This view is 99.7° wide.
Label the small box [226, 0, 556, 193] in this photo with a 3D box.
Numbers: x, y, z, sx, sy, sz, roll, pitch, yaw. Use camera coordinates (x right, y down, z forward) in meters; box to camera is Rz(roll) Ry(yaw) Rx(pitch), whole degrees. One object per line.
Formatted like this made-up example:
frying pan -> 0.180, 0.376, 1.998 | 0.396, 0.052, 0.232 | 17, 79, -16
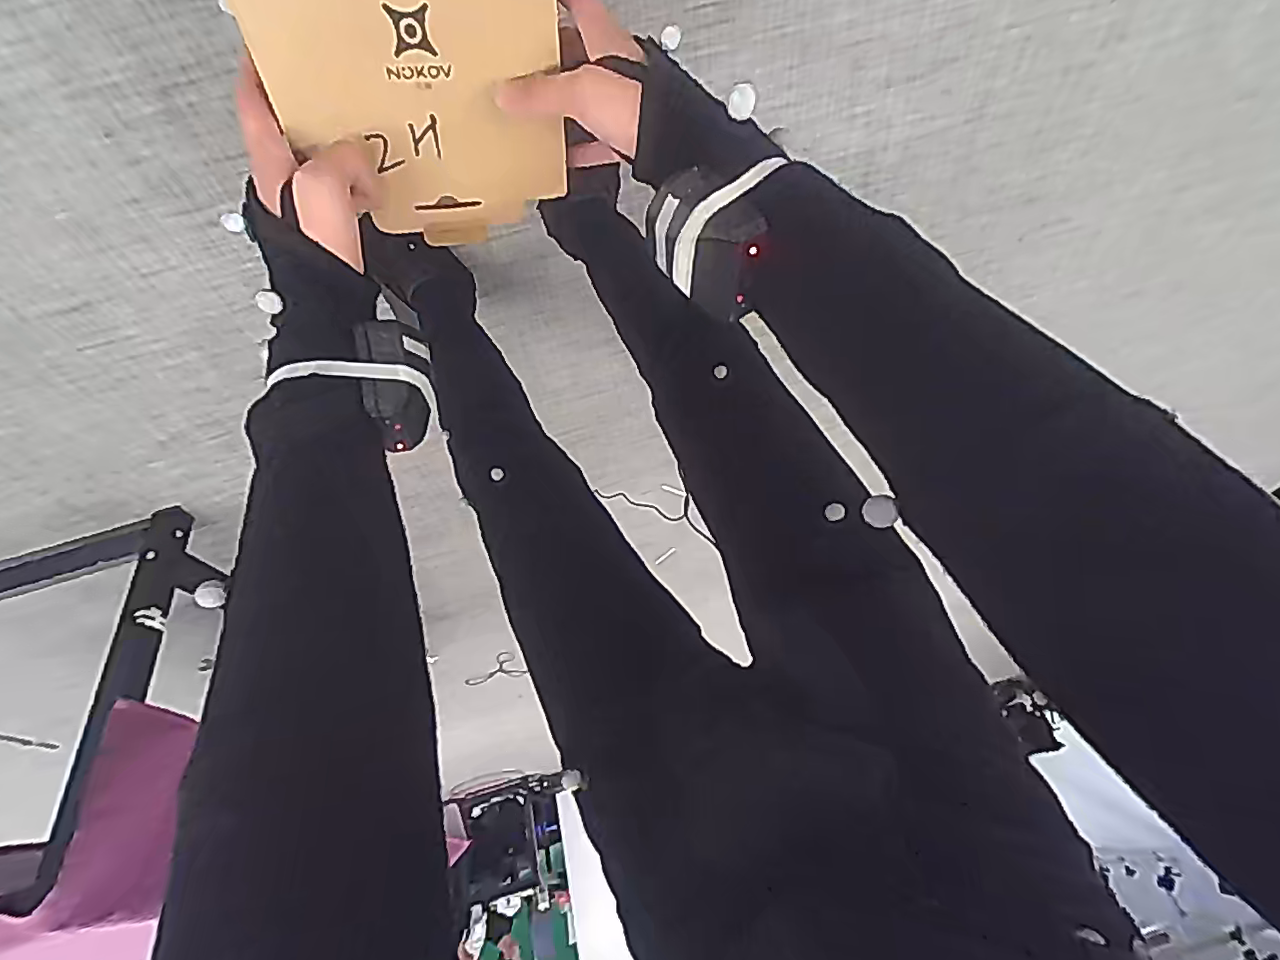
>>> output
small box -> -0.151, -0.311, 0.339 | 0.168, 0.176, 0.179 | -10, 146, -12
